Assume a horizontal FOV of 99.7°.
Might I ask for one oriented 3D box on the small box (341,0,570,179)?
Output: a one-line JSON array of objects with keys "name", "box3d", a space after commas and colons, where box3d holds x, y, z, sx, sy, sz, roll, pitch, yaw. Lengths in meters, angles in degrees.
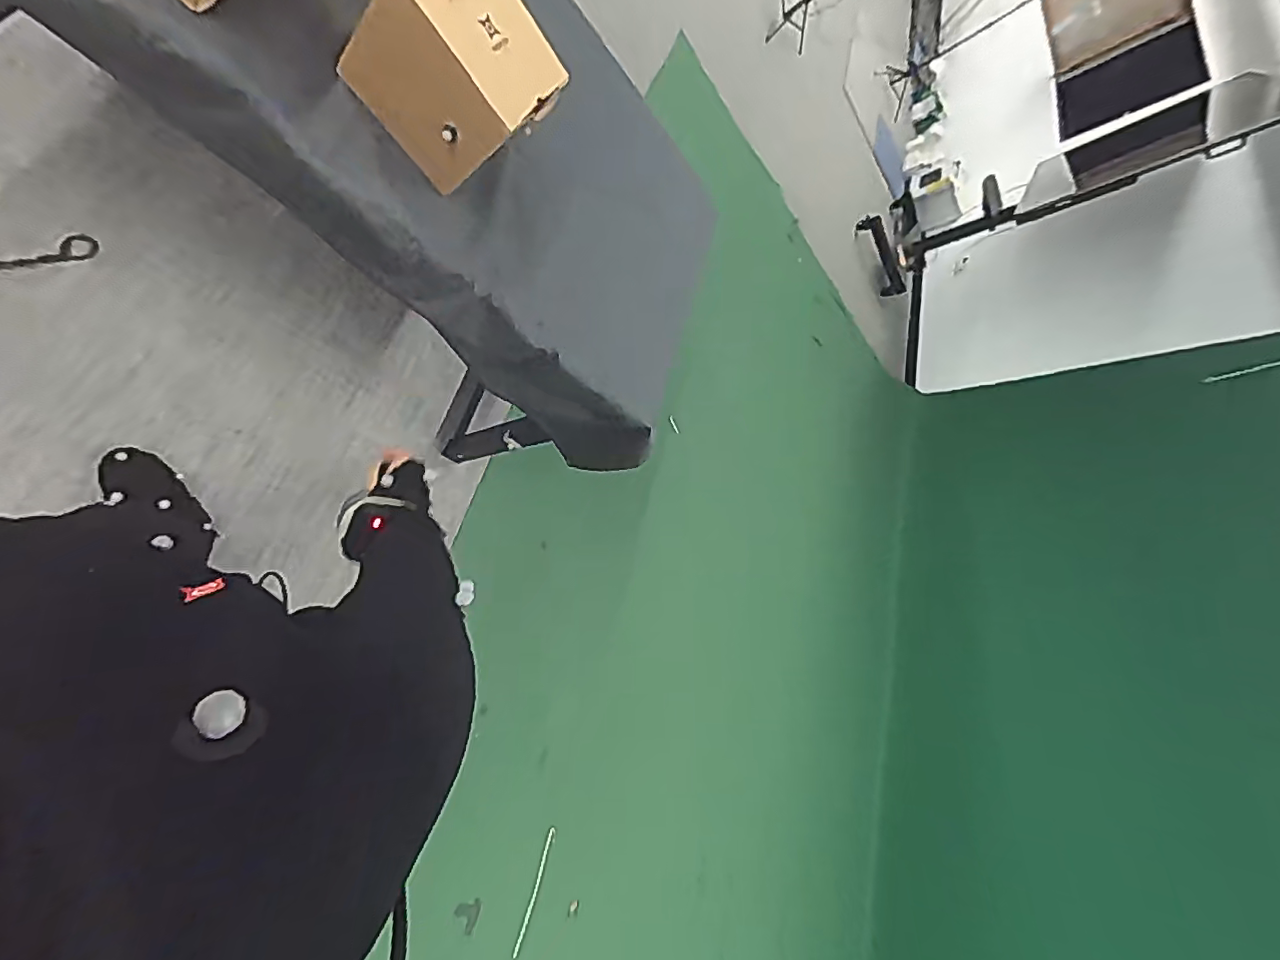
[{"name": "small box", "box3d": [-0.229, -0.516, 0.679, 0.179, 0.176, 0.168, 46, 53, -31]}]
